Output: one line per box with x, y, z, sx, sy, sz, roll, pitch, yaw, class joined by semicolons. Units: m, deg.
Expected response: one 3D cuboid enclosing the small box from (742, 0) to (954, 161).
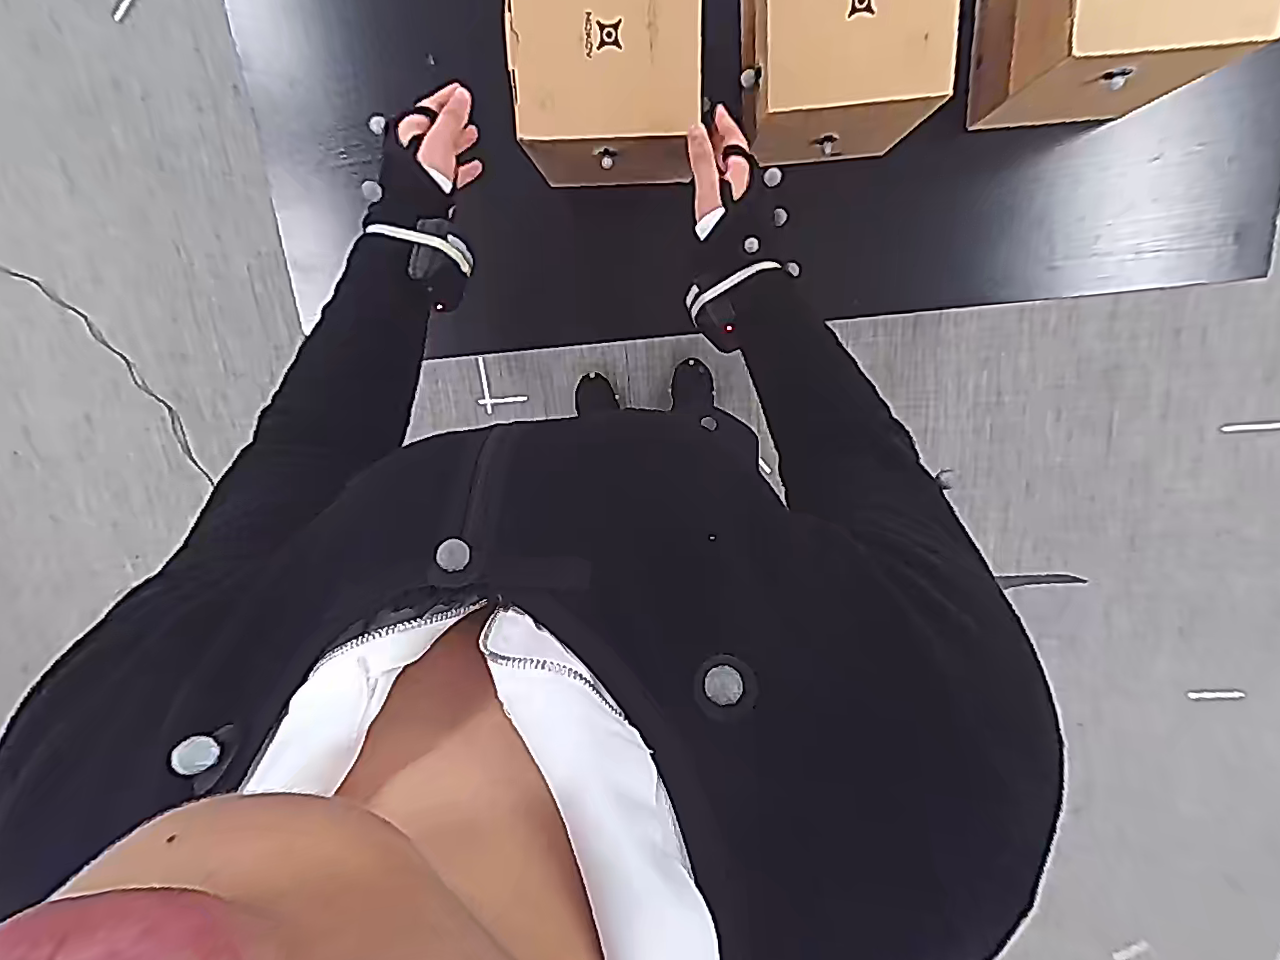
0.199;-0.447;0.555;0.168;0.176;0.179;-3;104;3;small box

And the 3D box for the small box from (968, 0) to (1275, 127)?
0.458;-0.473;0.534;0.179;0.176;0.168;-2;104;3;small box
